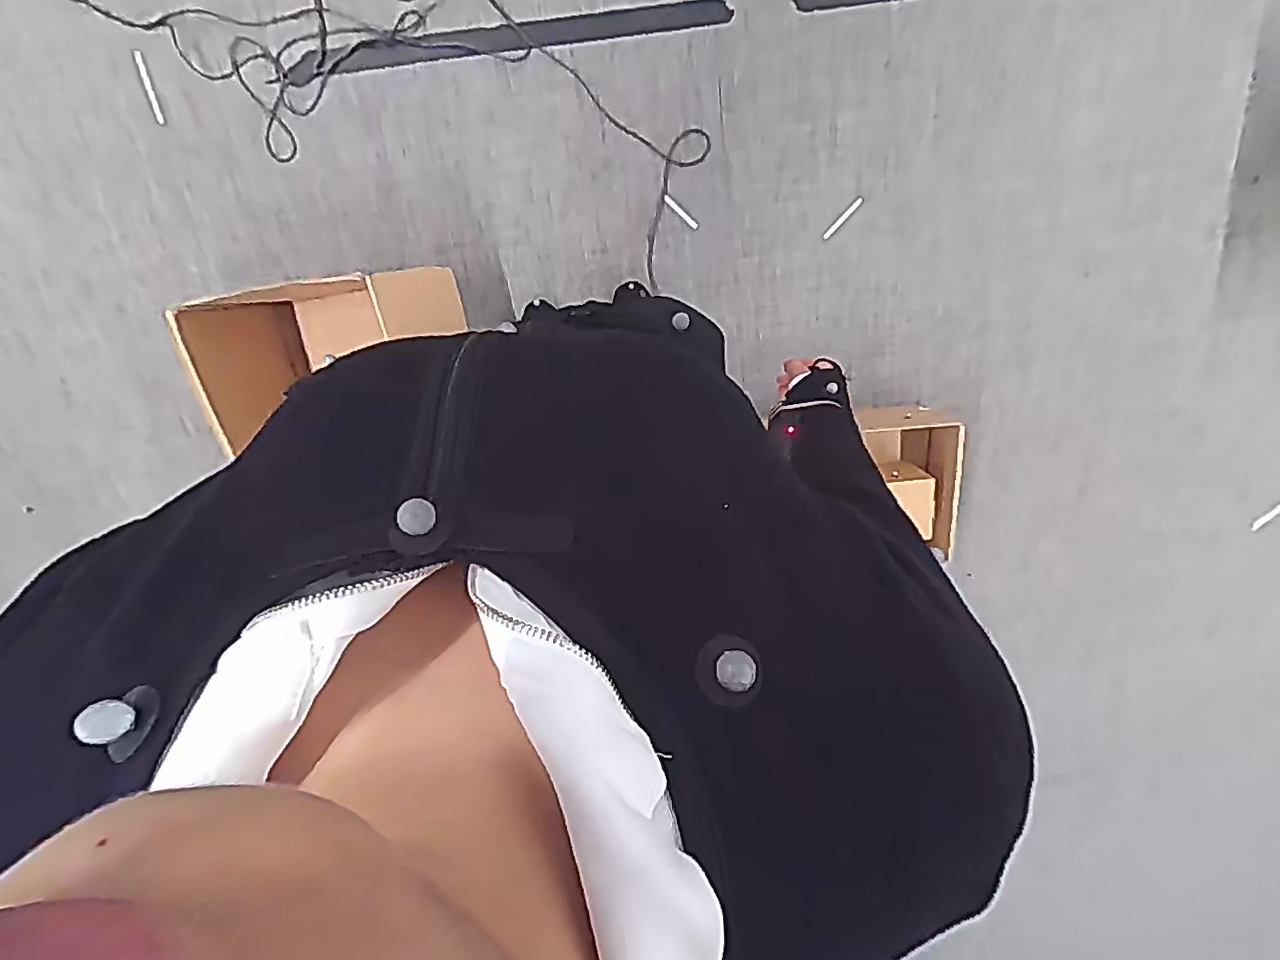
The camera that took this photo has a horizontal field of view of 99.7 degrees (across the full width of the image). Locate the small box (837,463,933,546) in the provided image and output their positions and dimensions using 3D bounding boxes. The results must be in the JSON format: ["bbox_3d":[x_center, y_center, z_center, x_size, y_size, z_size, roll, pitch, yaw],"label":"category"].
[{"bbox_3d":[0.639,0.059,1.428,0.179,0.176,0.168,-5,107,2],"label":"small box"}]
